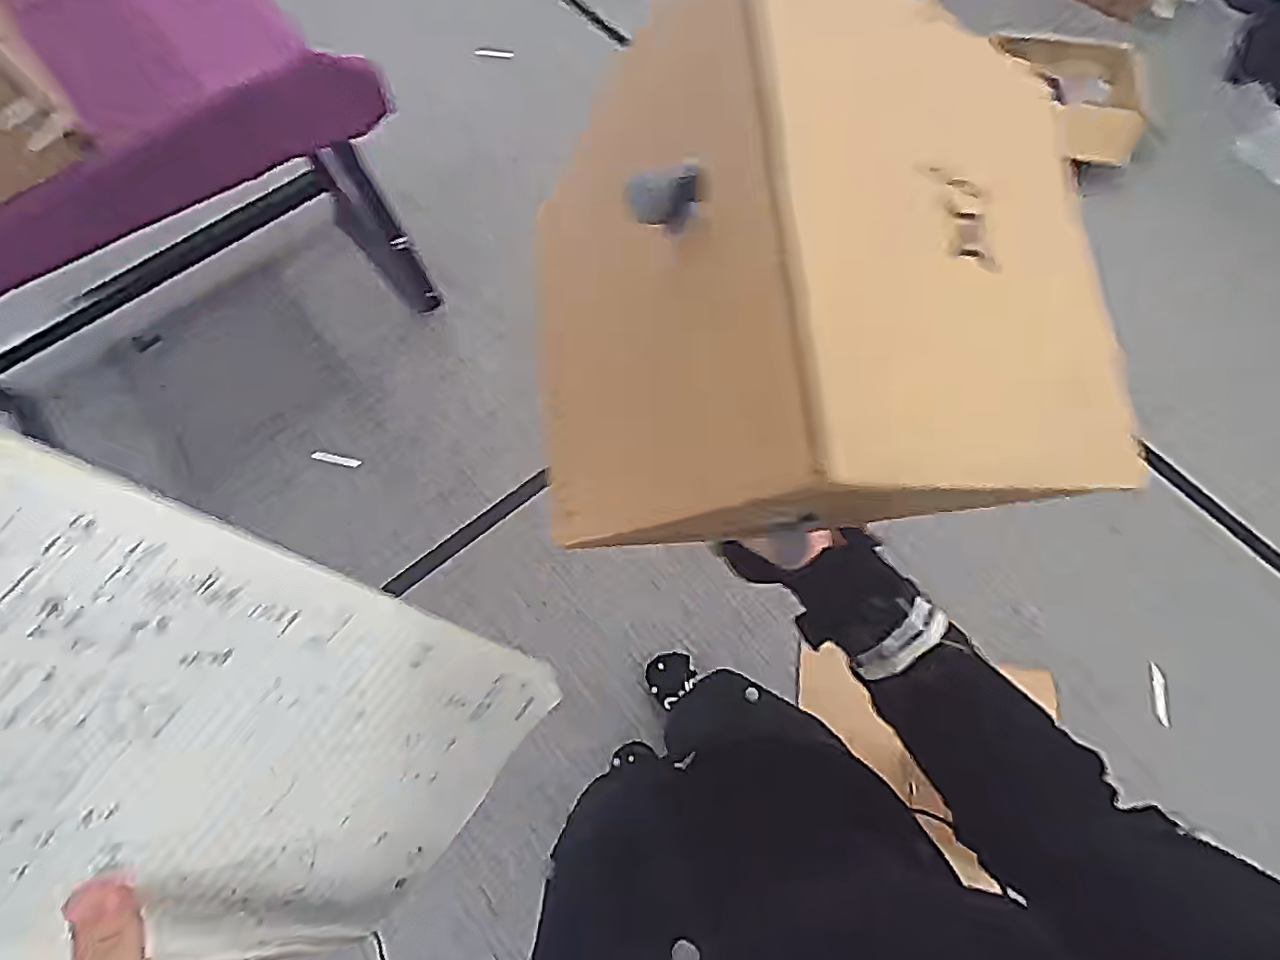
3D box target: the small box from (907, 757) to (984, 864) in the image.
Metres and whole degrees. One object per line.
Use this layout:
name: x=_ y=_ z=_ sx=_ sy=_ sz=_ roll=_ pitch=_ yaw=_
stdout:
small box: x=0.695 y=0.696 z=1.146 sx=0.179 sy=0.176 sz=0.168 roll=4 pitch=71 yaw=3

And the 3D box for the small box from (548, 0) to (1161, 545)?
small box: x=0.066 y=-0.065 z=0.237 sx=0.168 sy=0.176 sz=0.179 roll=0 pitch=79 yaw=-29
